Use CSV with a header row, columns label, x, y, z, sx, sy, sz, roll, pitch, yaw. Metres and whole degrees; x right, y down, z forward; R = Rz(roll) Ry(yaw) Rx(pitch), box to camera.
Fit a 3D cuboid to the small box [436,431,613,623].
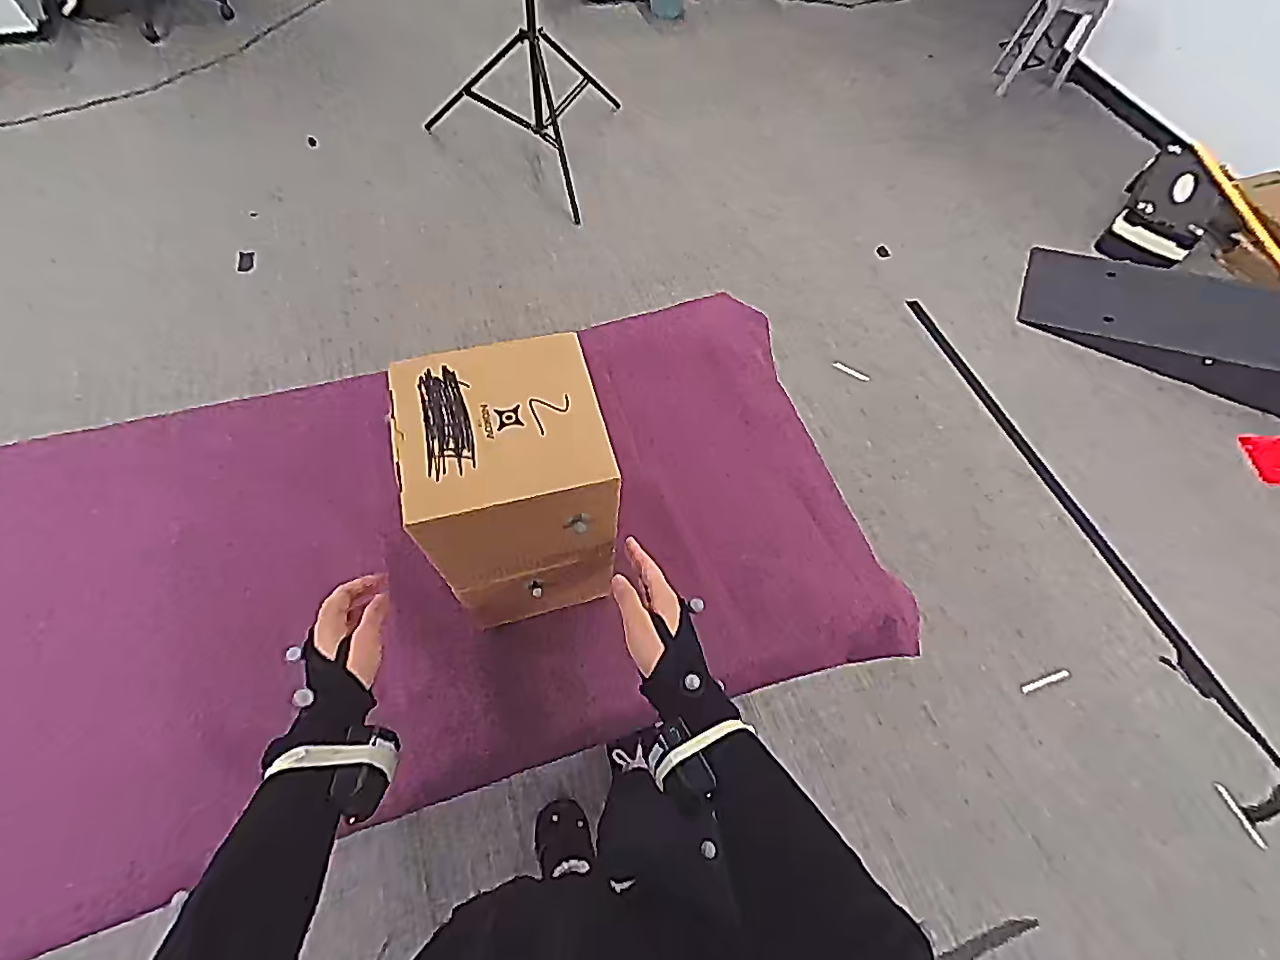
label,x,y,z,sx,sy,sz,roll,pitch,yaw
small box,-0.138,0.065,0.680,0.179,0.176,0.168,-13,64,-12
